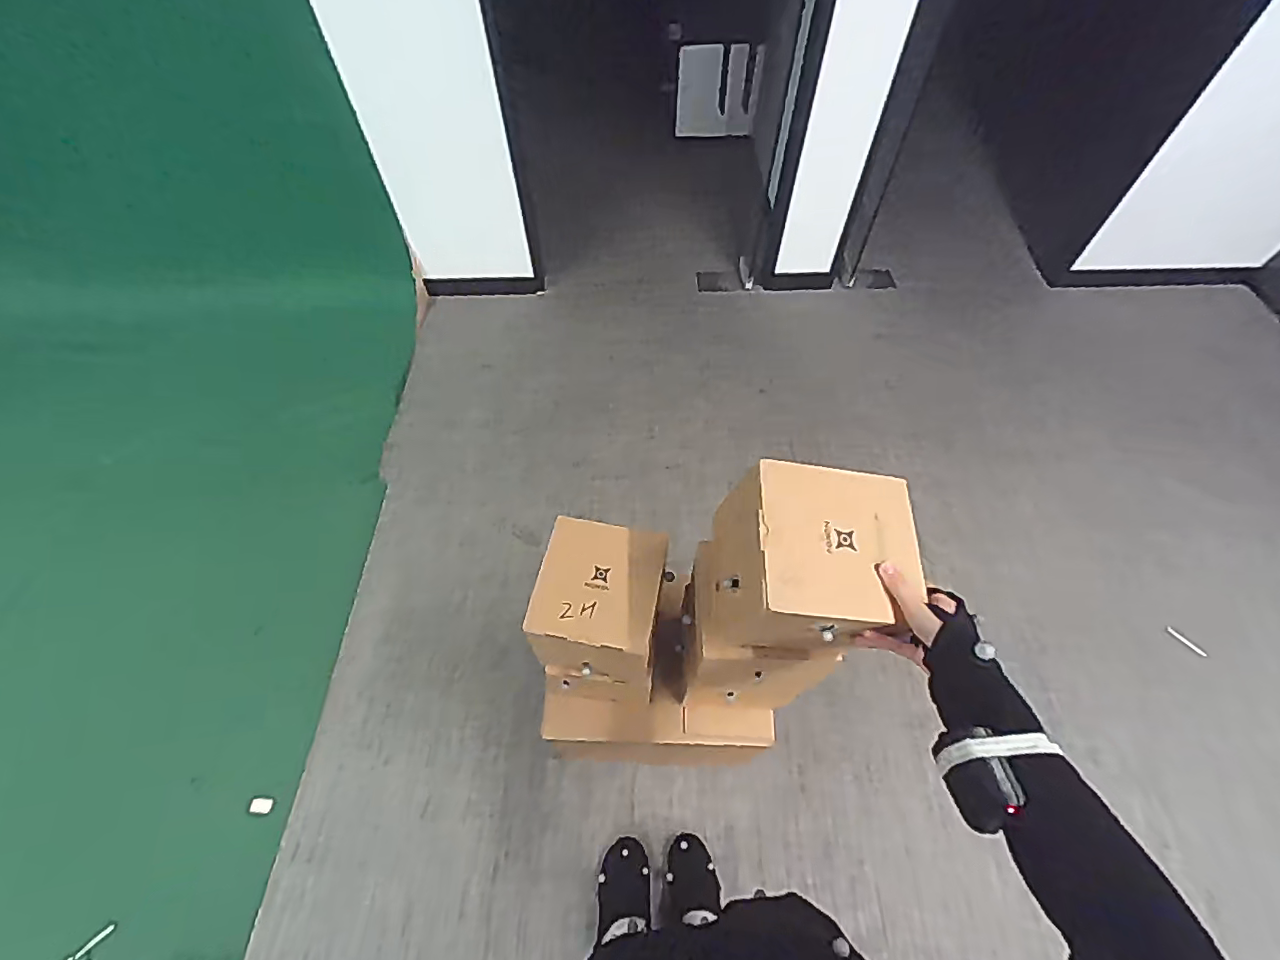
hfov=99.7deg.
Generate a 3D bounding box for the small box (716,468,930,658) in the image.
[{"bbox_3d":[0.191,0.104,0.625,0.179,0.176,0.168,8,63,-8],"label":"small box"}]
